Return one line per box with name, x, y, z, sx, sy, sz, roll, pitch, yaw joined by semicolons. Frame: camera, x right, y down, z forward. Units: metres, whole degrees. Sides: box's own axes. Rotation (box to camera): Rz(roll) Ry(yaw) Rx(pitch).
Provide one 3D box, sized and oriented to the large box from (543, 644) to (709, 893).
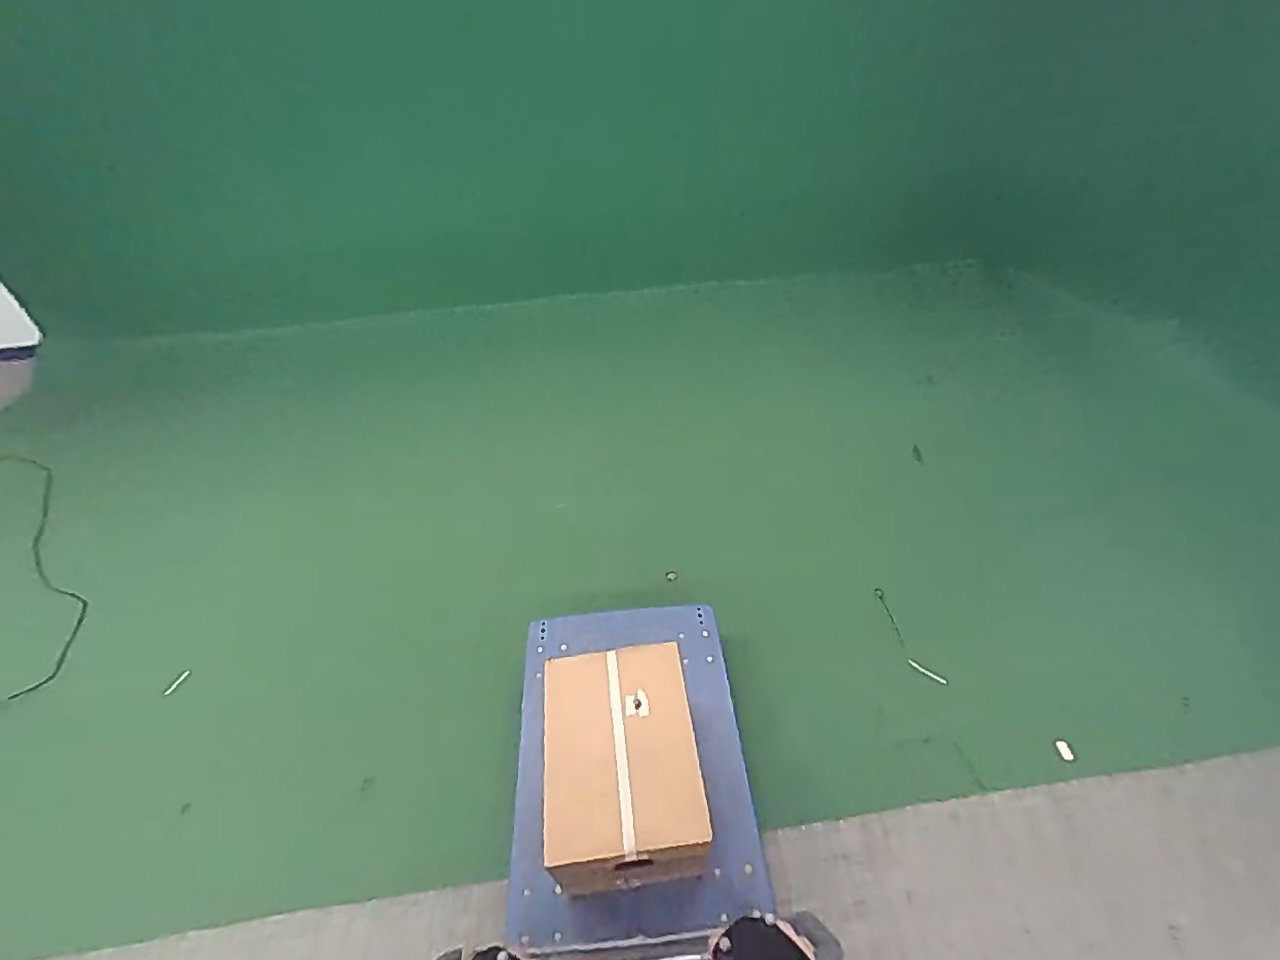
large box;-0.038;0.649;1.233;0.320;0.320;0.408;-7;45;-3
